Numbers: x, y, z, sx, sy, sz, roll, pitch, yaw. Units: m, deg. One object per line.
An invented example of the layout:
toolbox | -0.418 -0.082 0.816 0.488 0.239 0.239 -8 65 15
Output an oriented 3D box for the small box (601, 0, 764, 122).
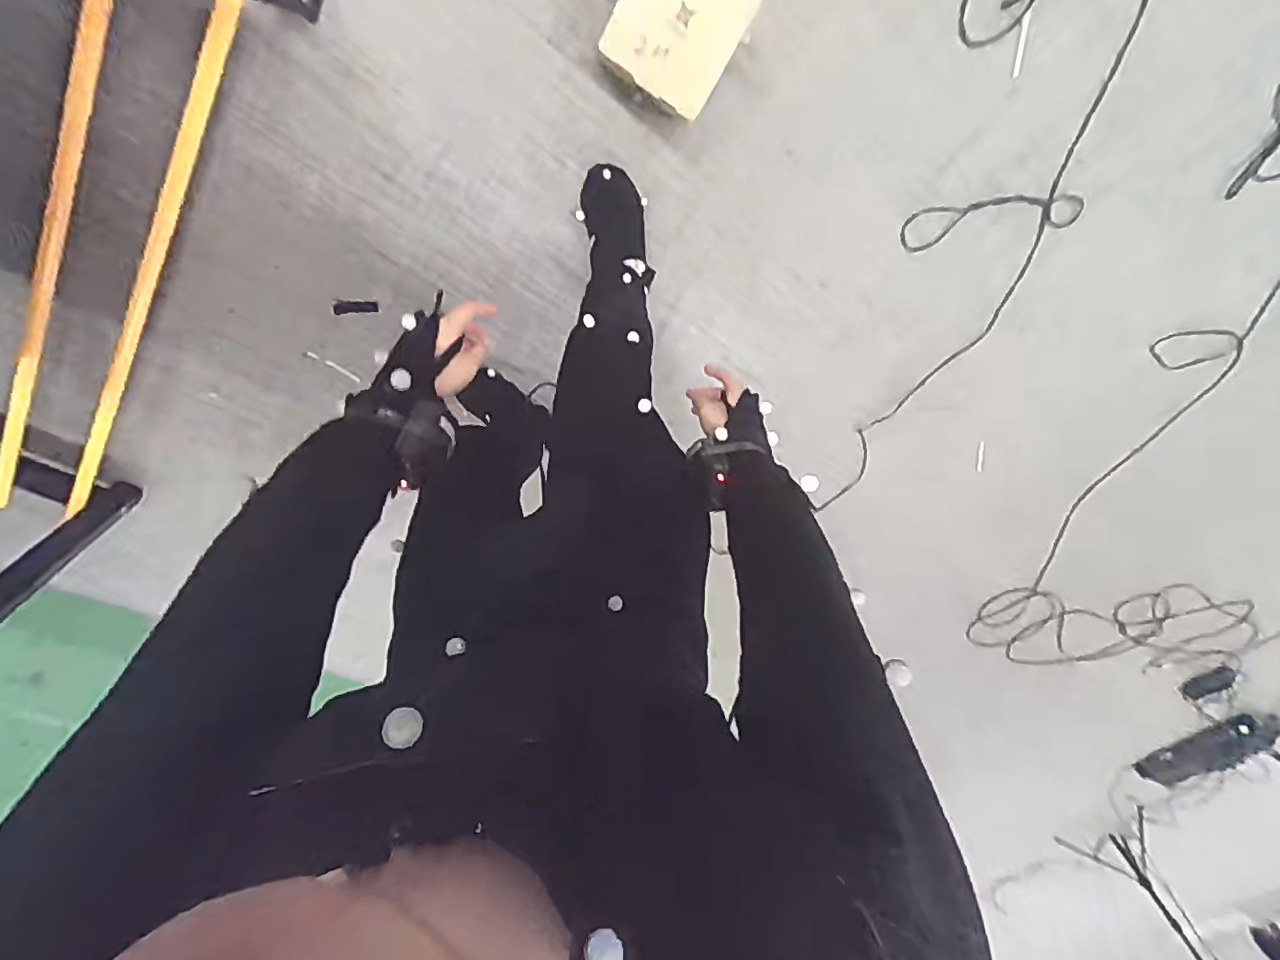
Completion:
small box | 0.050 -0.668 0.797 0.168 0.176 0.179 26 119 -20
